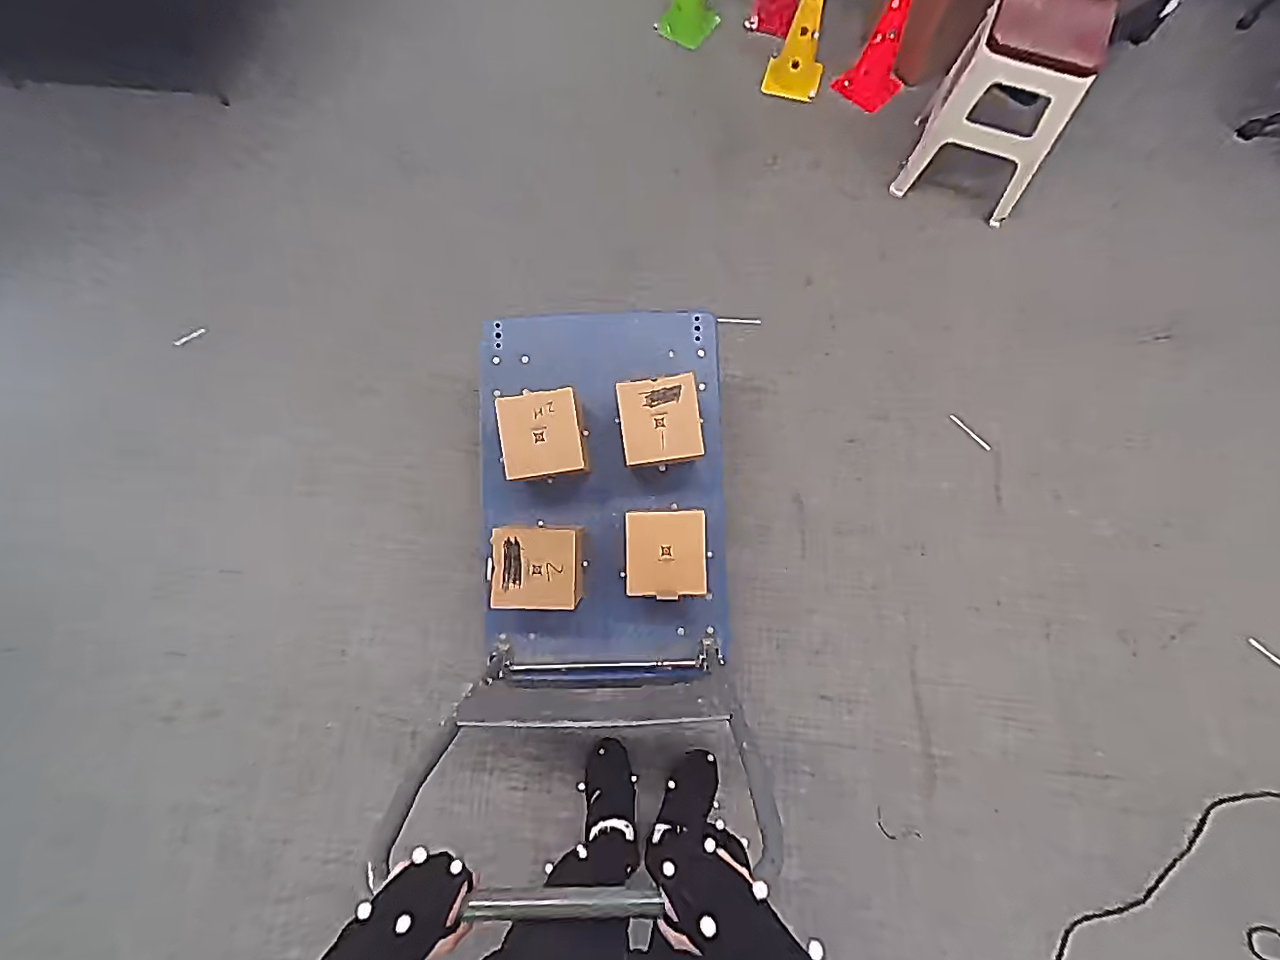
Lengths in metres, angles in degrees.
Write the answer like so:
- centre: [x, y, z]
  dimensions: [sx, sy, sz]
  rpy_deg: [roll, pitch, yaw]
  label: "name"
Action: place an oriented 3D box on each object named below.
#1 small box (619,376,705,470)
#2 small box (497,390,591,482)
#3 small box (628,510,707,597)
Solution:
- centre: [0.045, -0.120, 1.204]
  dimensions: [0.168, 0.176, 0.179]
  rpy_deg: [-7, 89, 1]
  label: "small box"
- centre: [-0.206, -0.091, 1.204]
  dimensions: [0.168, 0.176, 0.179]
  rpy_deg: [-8, 88, -1]
  label: "small box"
- centre: [0.056, 0.156, 1.197]
  dimensions: [0.168, 0.176, 0.179]
  rpy_deg: [-1, 89, 0]
  label: "small box"
